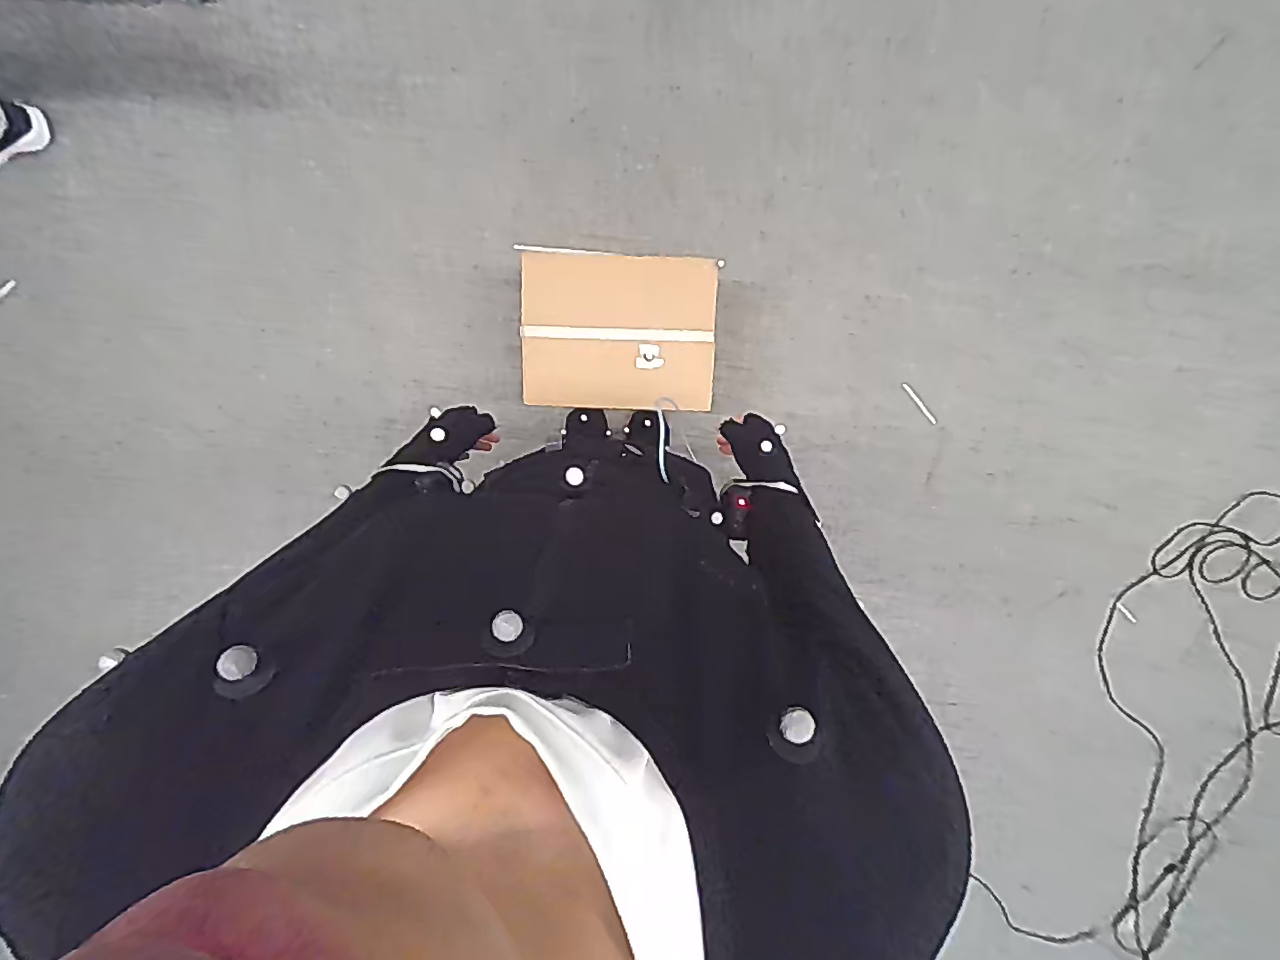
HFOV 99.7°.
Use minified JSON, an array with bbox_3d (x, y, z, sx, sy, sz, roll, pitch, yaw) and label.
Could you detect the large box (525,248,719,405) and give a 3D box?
[{"bbox_3d":[-0.042,-0.342,1.272,0.408,0.320,0.320,2,102,-1],"label":"large box"}]
